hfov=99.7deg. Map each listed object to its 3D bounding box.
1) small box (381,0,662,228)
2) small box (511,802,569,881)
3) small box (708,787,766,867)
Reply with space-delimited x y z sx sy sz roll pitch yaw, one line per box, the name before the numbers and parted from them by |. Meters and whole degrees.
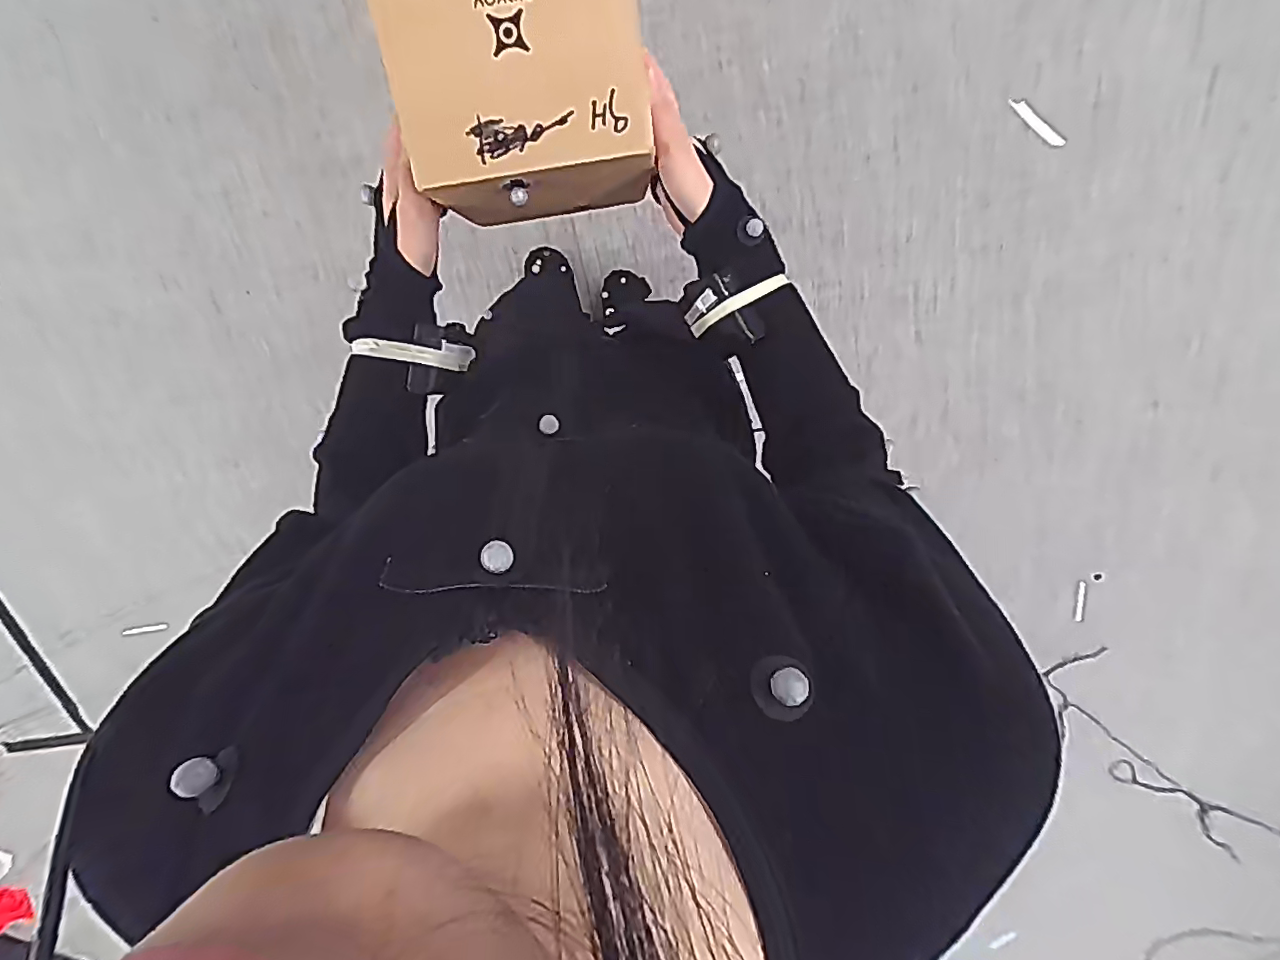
small box | -0.080 -0.310 0.414 0.168 0.176 0.179 -9 107 0
small box | -0.352 1.280 1.923 0.179 0.176 0.168 5 110 -3
small box | 0.334 1.202 1.887 0.168 0.176 0.179 -9 111 4
